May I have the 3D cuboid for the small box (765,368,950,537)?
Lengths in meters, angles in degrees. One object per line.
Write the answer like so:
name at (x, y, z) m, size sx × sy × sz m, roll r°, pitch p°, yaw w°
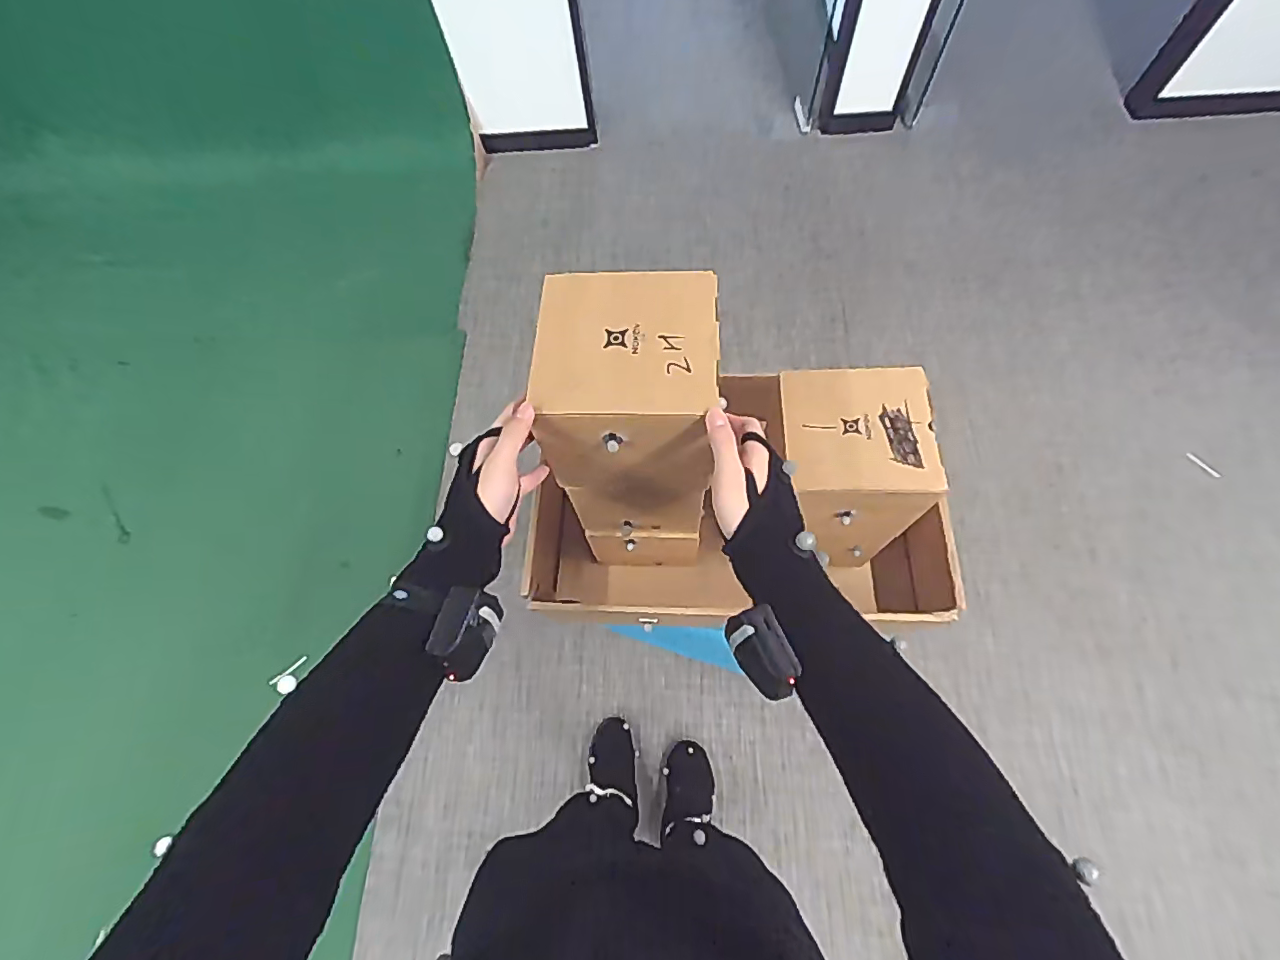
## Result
small box at (0.265, -0.028, 0.705) m, size 0.179 × 0.176 × 0.168 m, roll -1°, pitch 66°, yaw 6°

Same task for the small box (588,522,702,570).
small box at (0.015, 0.037, 0.877) m, size 0.168 × 0.176 × 0.179 m, roll 1°, pitch 65°, yaw 4°

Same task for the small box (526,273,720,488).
small box at (-0.007, -0.097, 0.580) m, size 0.179 × 0.176 × 0.168 m, roll 1°, pitch 66°, yaw 4°

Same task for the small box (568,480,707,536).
small box at (0.004, -0.035, 0.731) m, size 0.168 × 0.176 × 0.179 m, roll 1°, pitch 66°, yaw 4°
